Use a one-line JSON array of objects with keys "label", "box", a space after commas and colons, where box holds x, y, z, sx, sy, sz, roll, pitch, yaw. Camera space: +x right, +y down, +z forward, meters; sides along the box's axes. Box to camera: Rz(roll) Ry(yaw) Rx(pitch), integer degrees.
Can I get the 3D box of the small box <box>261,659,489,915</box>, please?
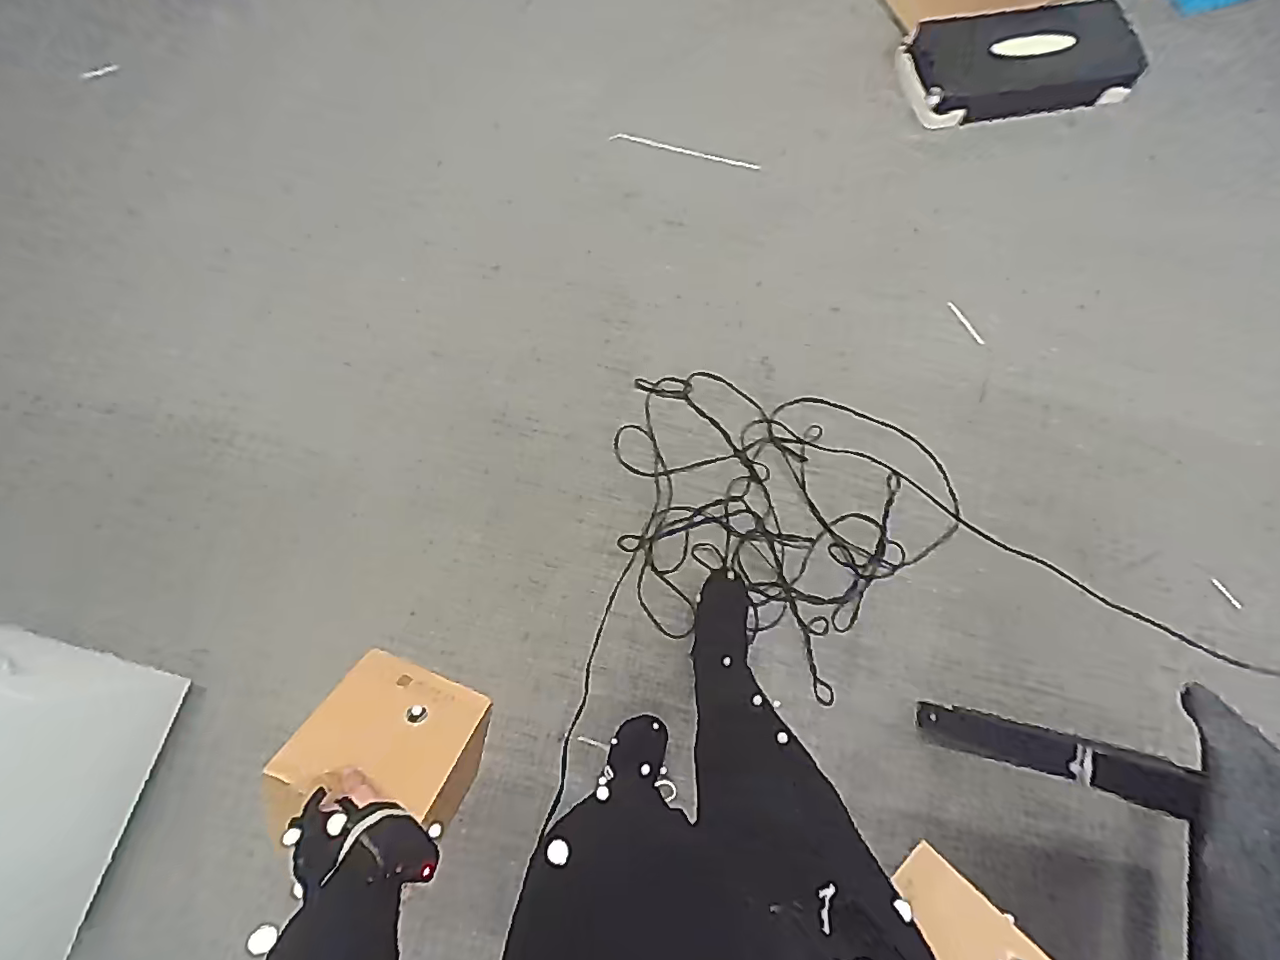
[{"label": "small box", "box": [-0.294, 0.349, 0.631, 0.168, 0.179, 0.176, 21, 32, 5]}]
